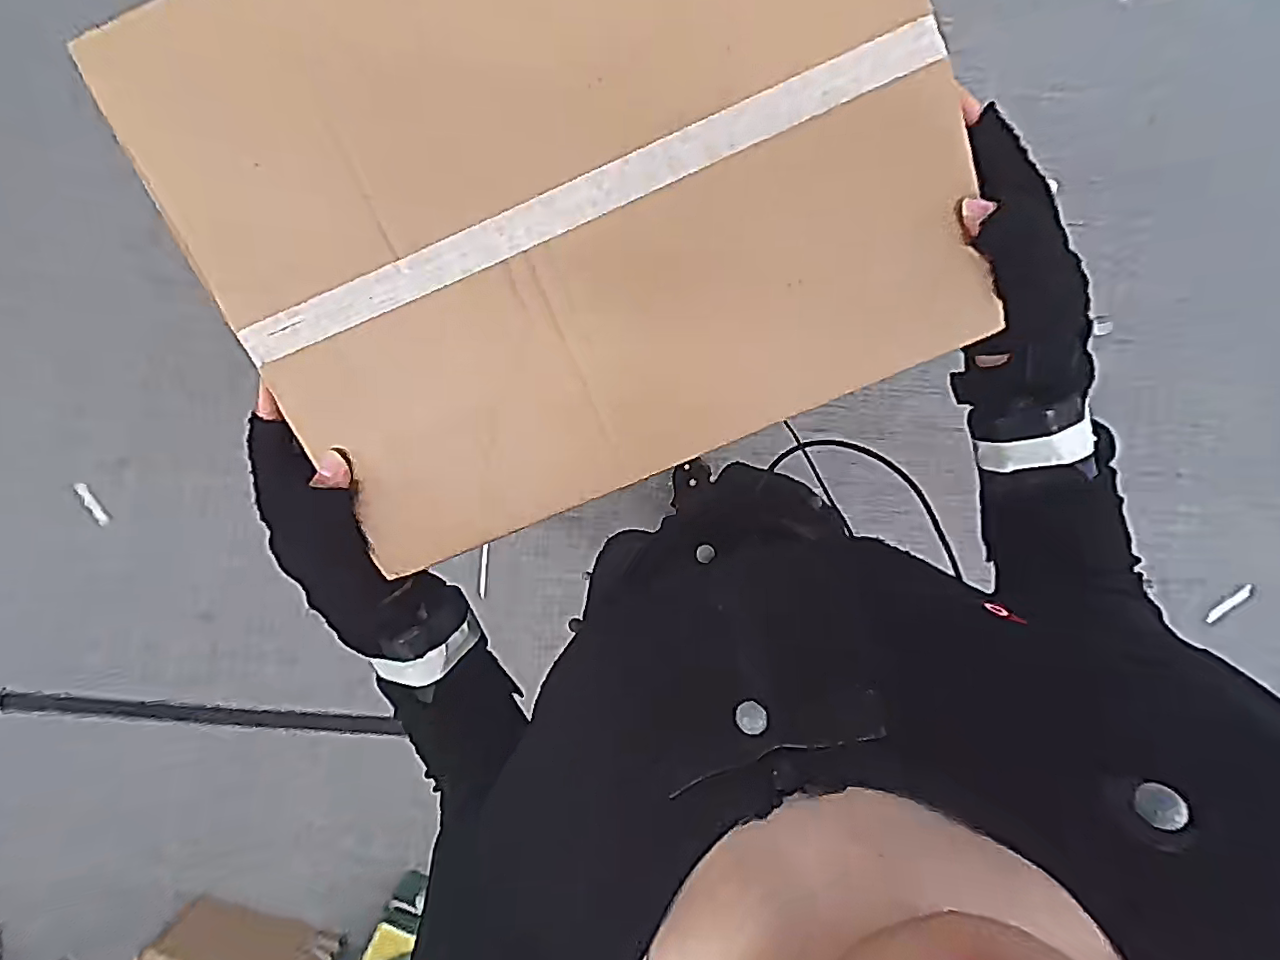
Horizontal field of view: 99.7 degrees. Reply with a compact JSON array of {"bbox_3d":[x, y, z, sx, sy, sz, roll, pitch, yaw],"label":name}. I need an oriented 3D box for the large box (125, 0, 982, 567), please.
[{"bbox_3d":[-0.033,-0.191,0.446,0.408,0.320,0.320,-21,104,4],"label":"large box"}]
